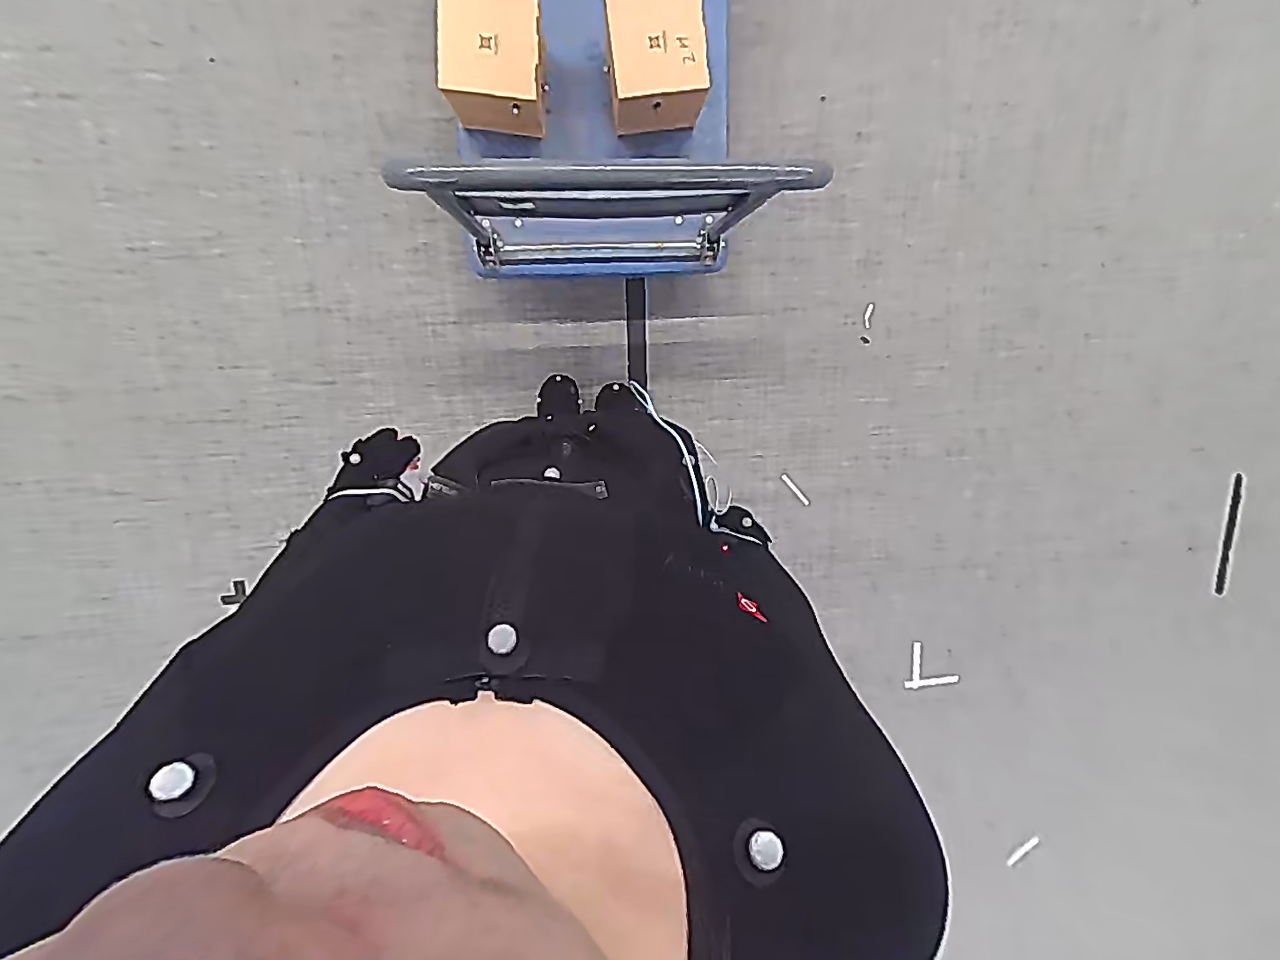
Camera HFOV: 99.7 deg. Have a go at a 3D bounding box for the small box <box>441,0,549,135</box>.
[{"bbox_3d":[-0.273,-0.794,1.042,0.179,0.176,0.168,3,102,-6],"label":"small box"}]

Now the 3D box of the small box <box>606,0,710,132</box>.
[{"bbox_3d":[0.031,-0.811,1.062,0.179,0.176,0.168,-8,103,-3],"label":"small box"}]
